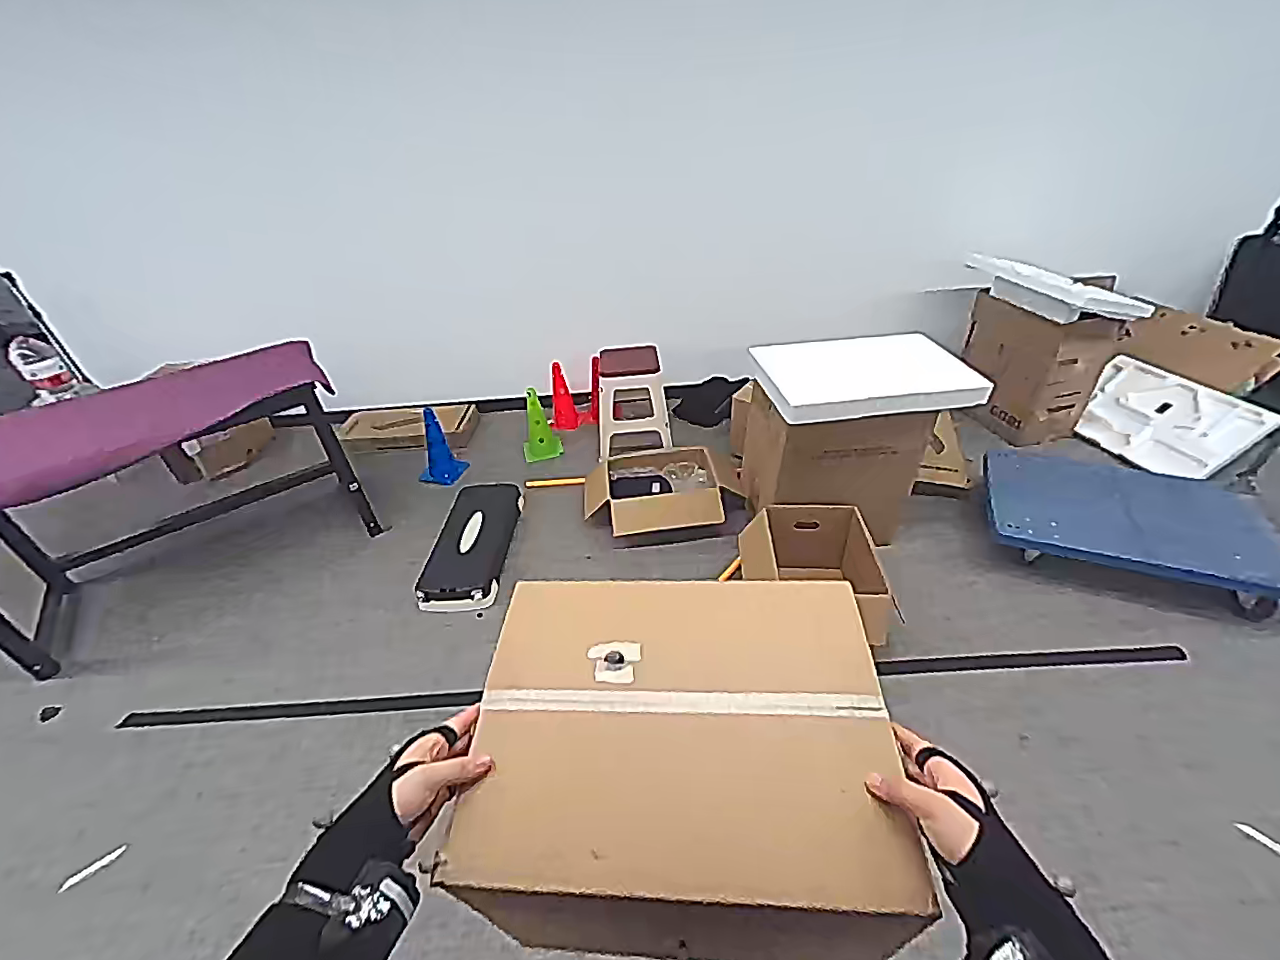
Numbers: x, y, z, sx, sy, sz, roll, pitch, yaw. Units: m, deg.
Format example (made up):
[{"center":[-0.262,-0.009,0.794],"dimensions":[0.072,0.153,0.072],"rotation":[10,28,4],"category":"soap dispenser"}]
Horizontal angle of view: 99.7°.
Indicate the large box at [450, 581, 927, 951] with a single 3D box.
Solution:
[{"center":[0.055,0.343,0.653],"dimensions":[0.408,0.320,0.320],"rotation":[-2,41,6],"category":"large box"}]
